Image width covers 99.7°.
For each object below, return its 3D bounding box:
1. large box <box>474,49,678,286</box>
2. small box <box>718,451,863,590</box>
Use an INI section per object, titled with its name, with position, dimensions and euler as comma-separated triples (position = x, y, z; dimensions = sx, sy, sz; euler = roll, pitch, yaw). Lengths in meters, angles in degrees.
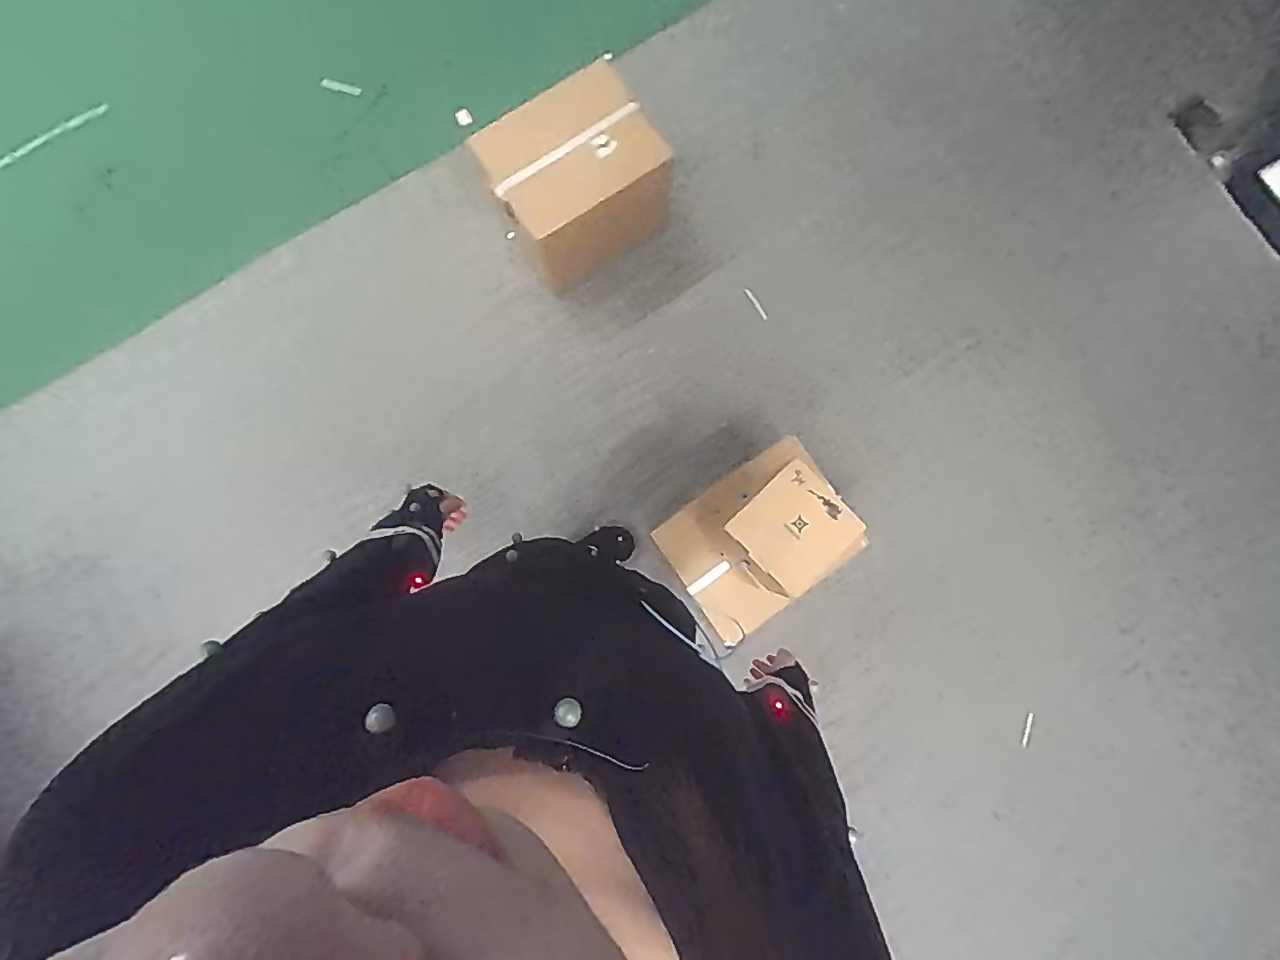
[large box]
position = -0.157, -0.802, 1.440
dimensions = 0.408, 0.320, 0.320
euler = -33, 87, -5
[small box]
position = 0.255, 0.074, 0.972
dimensions = 0.179, 0.176, 0.168
euler = -42, 86, -3
